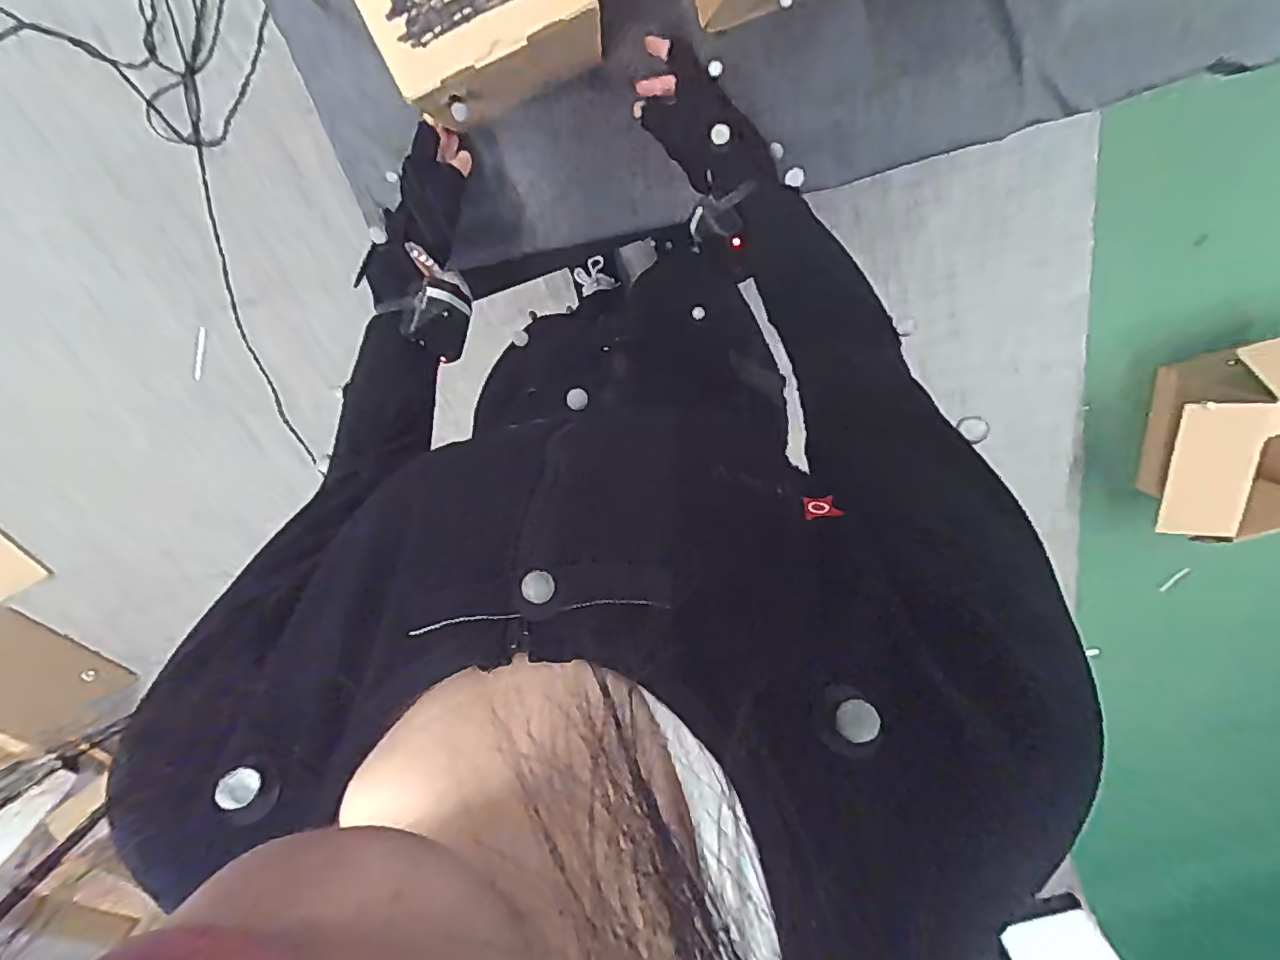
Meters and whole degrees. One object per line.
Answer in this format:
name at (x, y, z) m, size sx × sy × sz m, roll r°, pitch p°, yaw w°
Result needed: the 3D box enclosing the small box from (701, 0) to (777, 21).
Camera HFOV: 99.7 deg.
small box at (0.123, -0.515, 0.426) m, size 0.168 × 0.176 × 0.179 m, roll -17°, pitch 118°, yaw 4°
